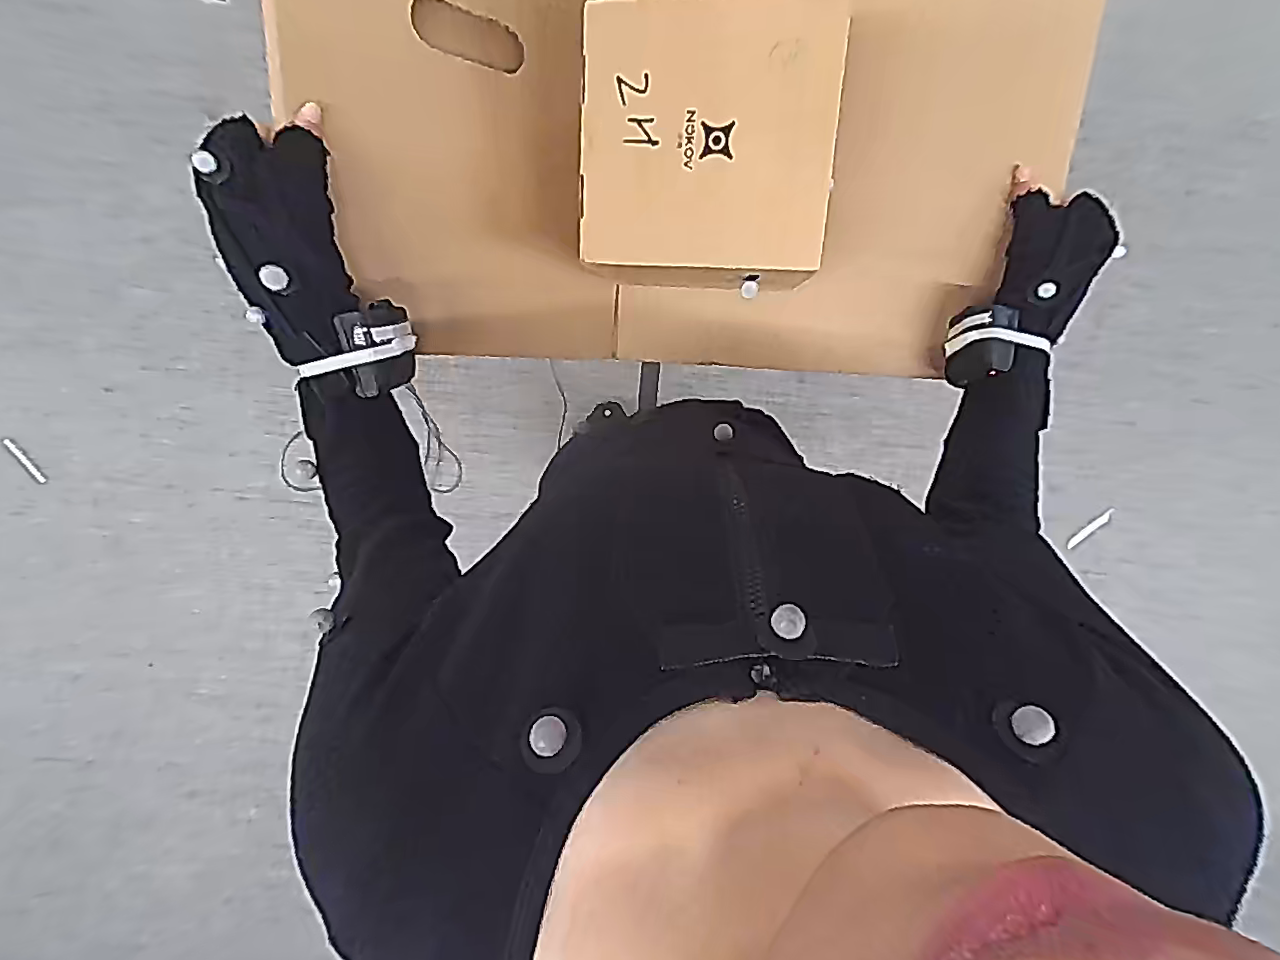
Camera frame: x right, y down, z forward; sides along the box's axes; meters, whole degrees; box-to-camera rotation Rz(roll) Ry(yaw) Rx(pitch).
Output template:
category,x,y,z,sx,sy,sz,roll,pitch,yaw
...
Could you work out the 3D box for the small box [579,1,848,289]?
category,x,y,z,sx,sy,sz,roll,pitch,yaw
small box,0.055,-0.257,0.455,0.179,0.176,0.168,6,105,8
